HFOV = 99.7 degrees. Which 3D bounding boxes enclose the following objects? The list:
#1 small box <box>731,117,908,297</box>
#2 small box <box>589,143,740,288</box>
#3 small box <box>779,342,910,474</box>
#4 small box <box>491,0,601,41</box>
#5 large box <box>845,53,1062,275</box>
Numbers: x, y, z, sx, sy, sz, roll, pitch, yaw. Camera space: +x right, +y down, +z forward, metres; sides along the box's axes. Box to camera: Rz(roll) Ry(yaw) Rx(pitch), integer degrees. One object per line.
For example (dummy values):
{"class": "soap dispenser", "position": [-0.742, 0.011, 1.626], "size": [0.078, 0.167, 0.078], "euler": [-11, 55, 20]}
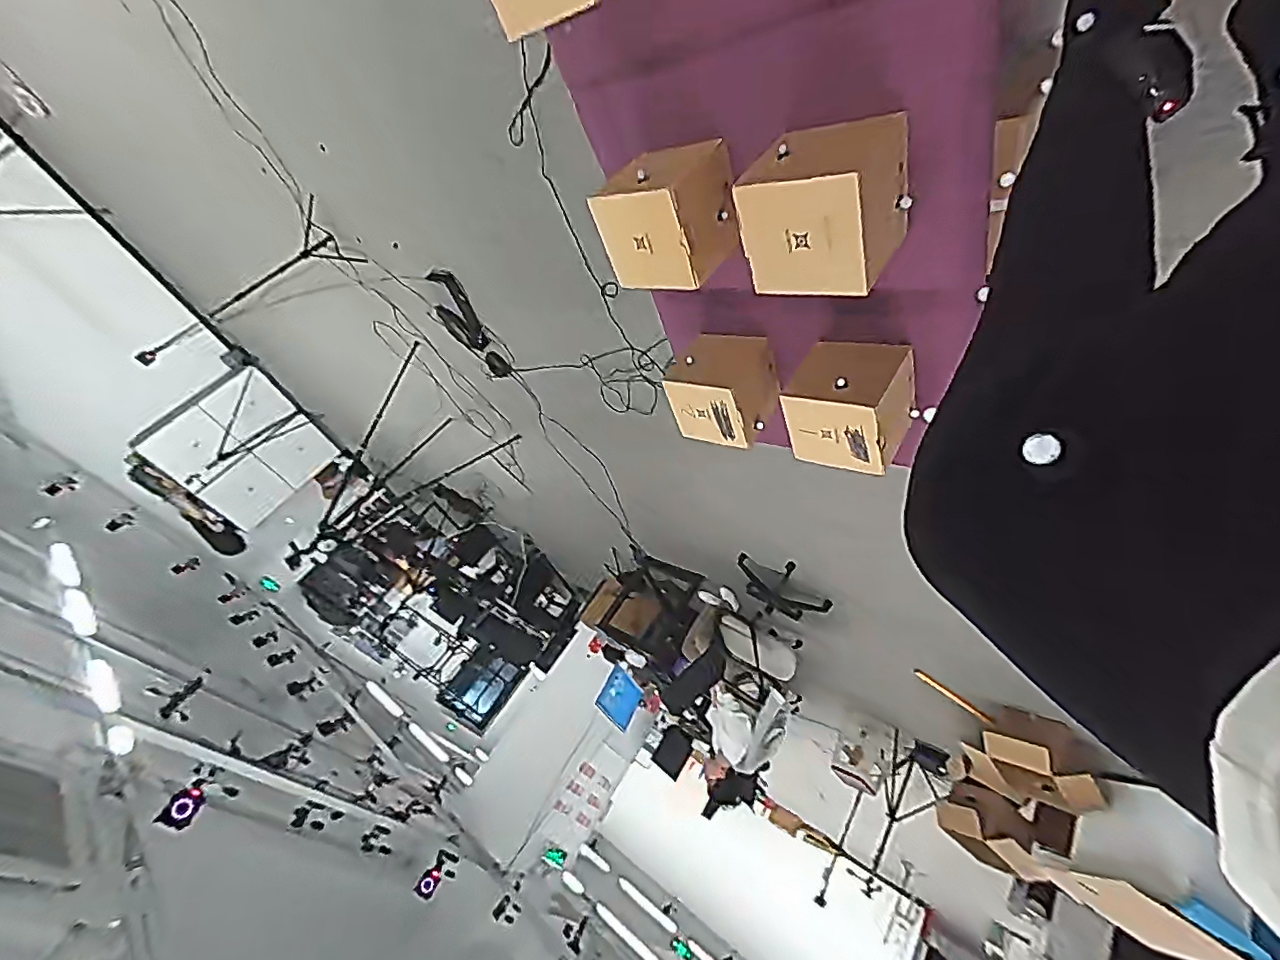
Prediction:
{"class": "small box", "position": [0.260, -0.384, 0.771], "size": [0.179, 0.176, 0.168], "euler": [17, 149, 38]}
{"class": "small box", "position": [0.049, -0.452, 0.934], "size": [0.179, 0.176, 0.168], "euler": [16, 147, 37]}
{"class": "small box", "position": [0.389, -0.140, 1.008], "size": [0.179, 0.176, 0.168], "euler": [17, 147, 41]}
{"class": "small box", "position": [-0.104, -0.710, 0.690], "size": [0.179, 0.176, 0.168], "euler": [16, 149, 37]}
{"class": "large box", "position": [0.680, -0.700, 1.249], "size": [0.408, 0.320, 0.320], "euler": [17, 147, 39]}
